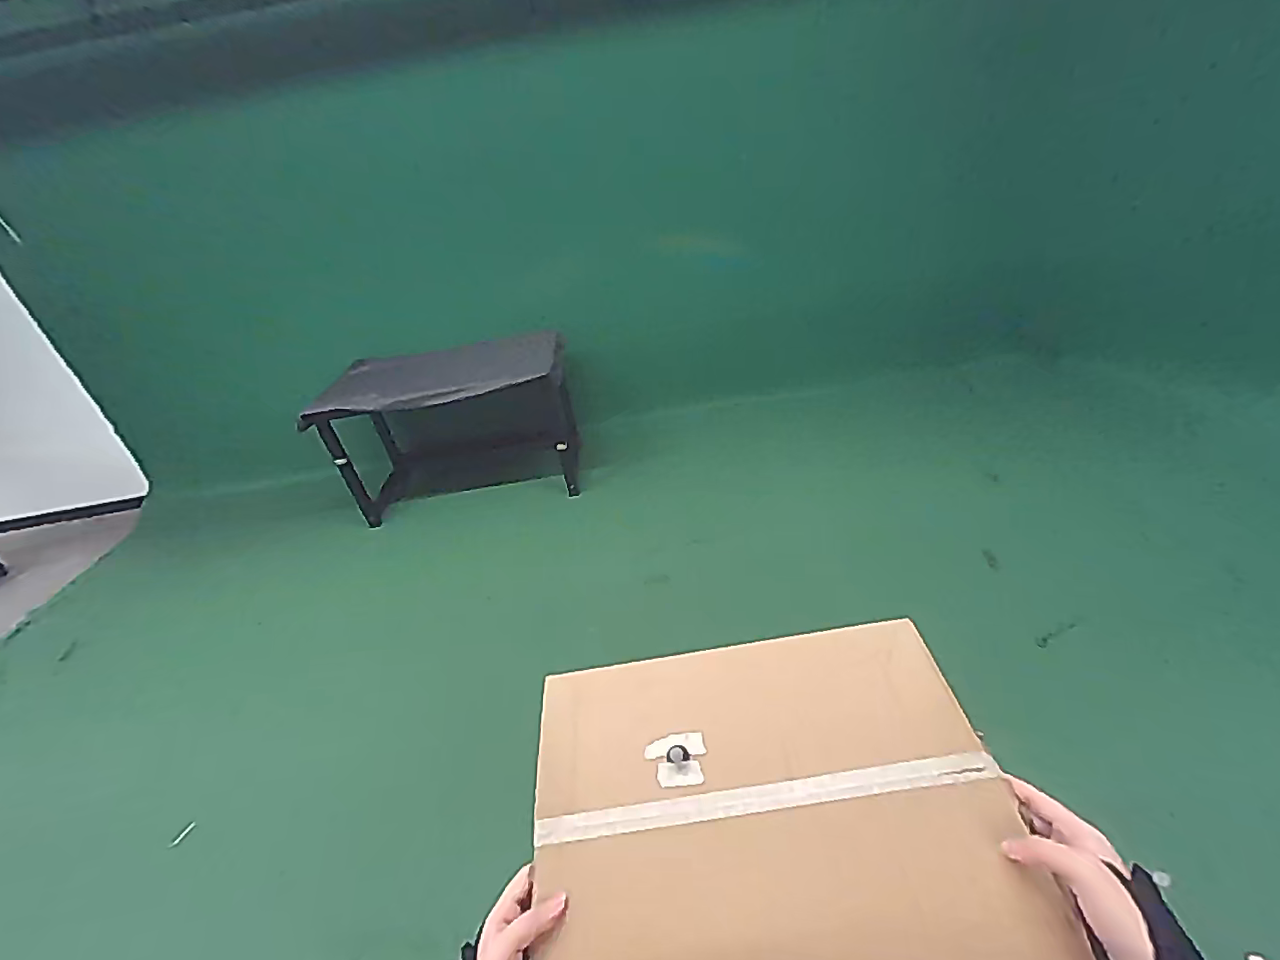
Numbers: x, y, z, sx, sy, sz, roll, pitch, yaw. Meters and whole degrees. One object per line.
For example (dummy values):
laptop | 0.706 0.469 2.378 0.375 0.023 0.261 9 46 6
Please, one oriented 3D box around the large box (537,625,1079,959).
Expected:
large box | 0.134 0.405 0.580 0.408 0.320 0.320 -12 39 4
